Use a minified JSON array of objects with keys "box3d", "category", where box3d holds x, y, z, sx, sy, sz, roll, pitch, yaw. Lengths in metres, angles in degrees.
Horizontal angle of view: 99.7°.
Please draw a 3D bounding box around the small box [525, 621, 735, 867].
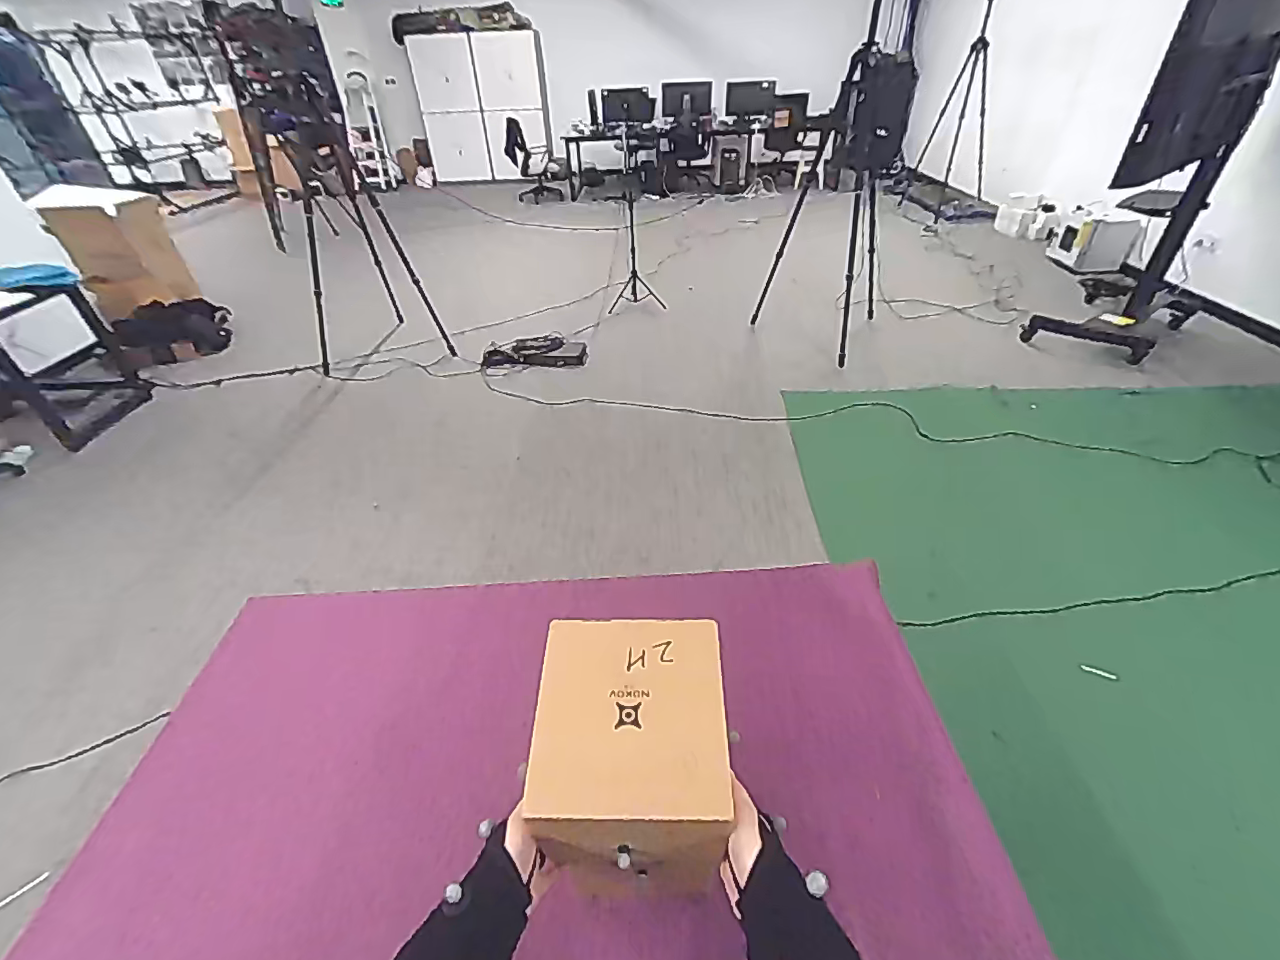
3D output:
[{"box3d":[-0.002,0.257,0.525,0.168,0.176,0.179,0,45,2],"category":"small box"}]
